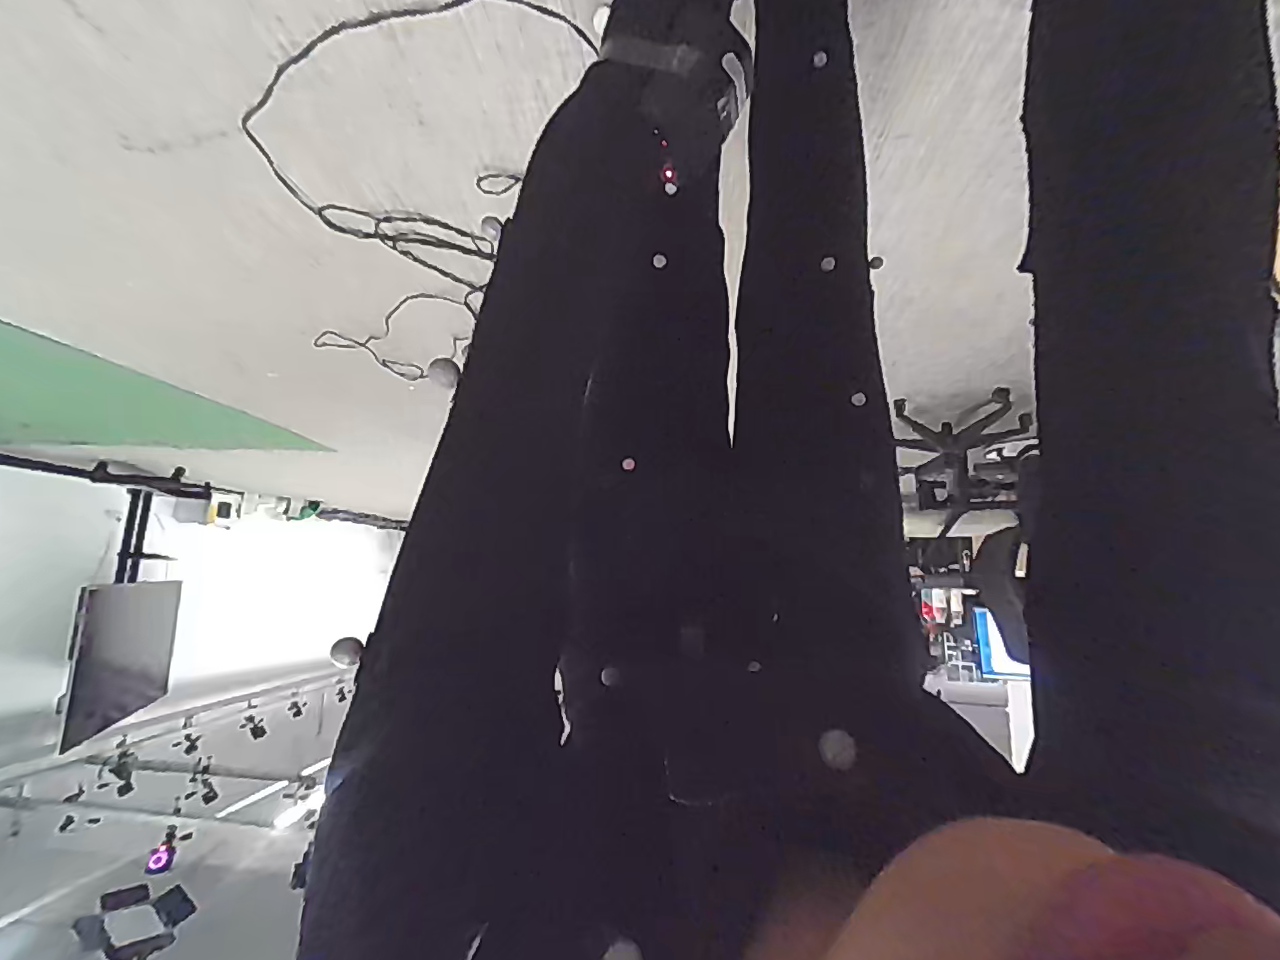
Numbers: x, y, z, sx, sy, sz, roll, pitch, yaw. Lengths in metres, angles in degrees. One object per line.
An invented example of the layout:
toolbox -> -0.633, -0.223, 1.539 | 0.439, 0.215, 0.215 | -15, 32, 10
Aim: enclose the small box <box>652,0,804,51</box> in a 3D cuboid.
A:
small box -> 0.096, -0.612, 0.575 | 0.168, 0.176, 0.179 | -7, 173, -2
